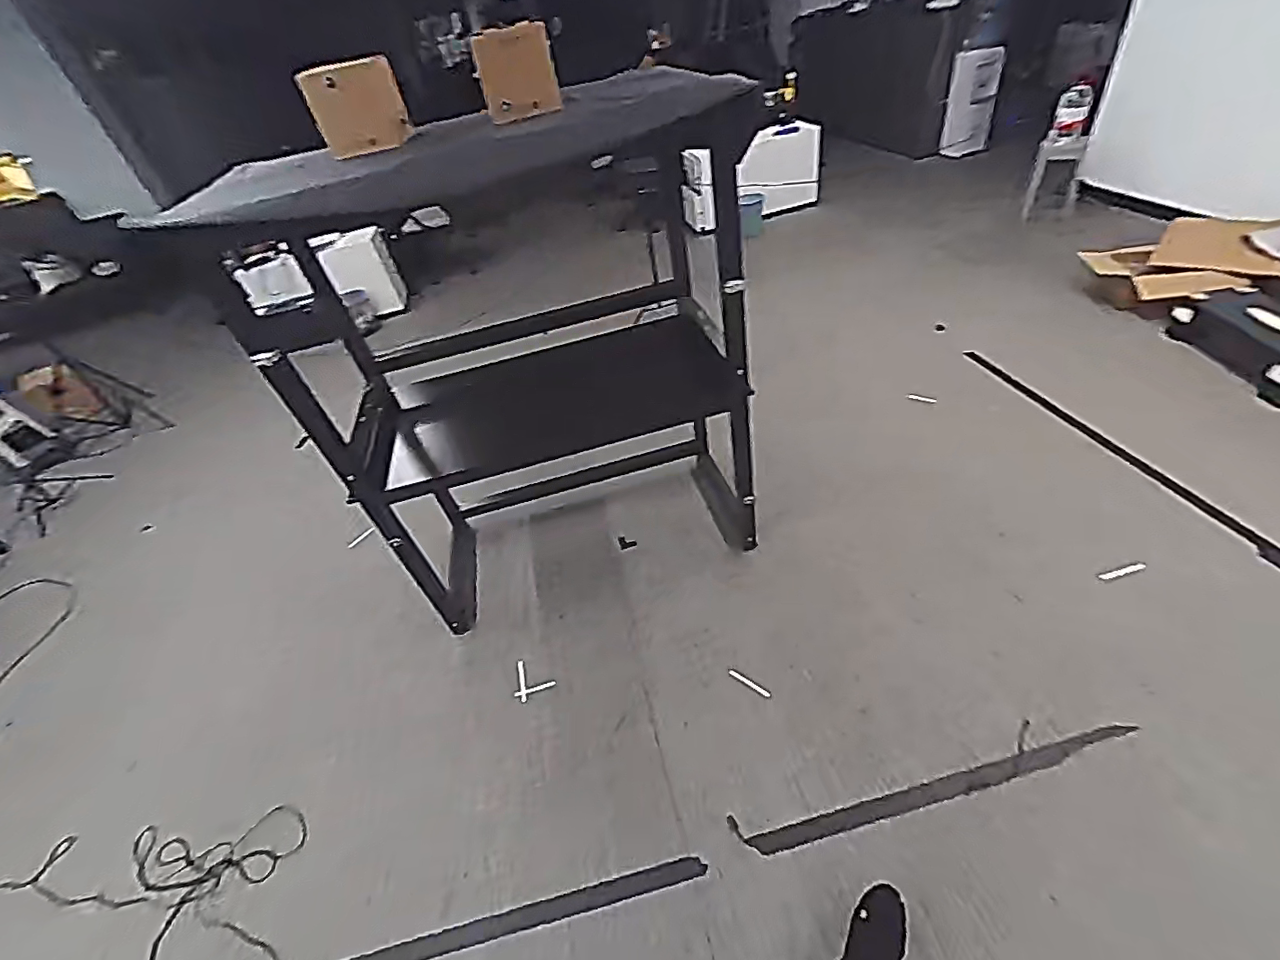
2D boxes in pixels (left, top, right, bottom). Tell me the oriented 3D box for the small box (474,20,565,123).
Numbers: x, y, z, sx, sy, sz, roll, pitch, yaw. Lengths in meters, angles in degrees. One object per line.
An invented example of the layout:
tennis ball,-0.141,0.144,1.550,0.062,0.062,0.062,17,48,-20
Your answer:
small box,-0.288,-0.977,1.299,0.168,0.176,0.179,-17,41,-5

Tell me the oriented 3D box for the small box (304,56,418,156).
small box,-0.657,-0.897,1.301,0.168,0.176,0.179,-12,41,0
